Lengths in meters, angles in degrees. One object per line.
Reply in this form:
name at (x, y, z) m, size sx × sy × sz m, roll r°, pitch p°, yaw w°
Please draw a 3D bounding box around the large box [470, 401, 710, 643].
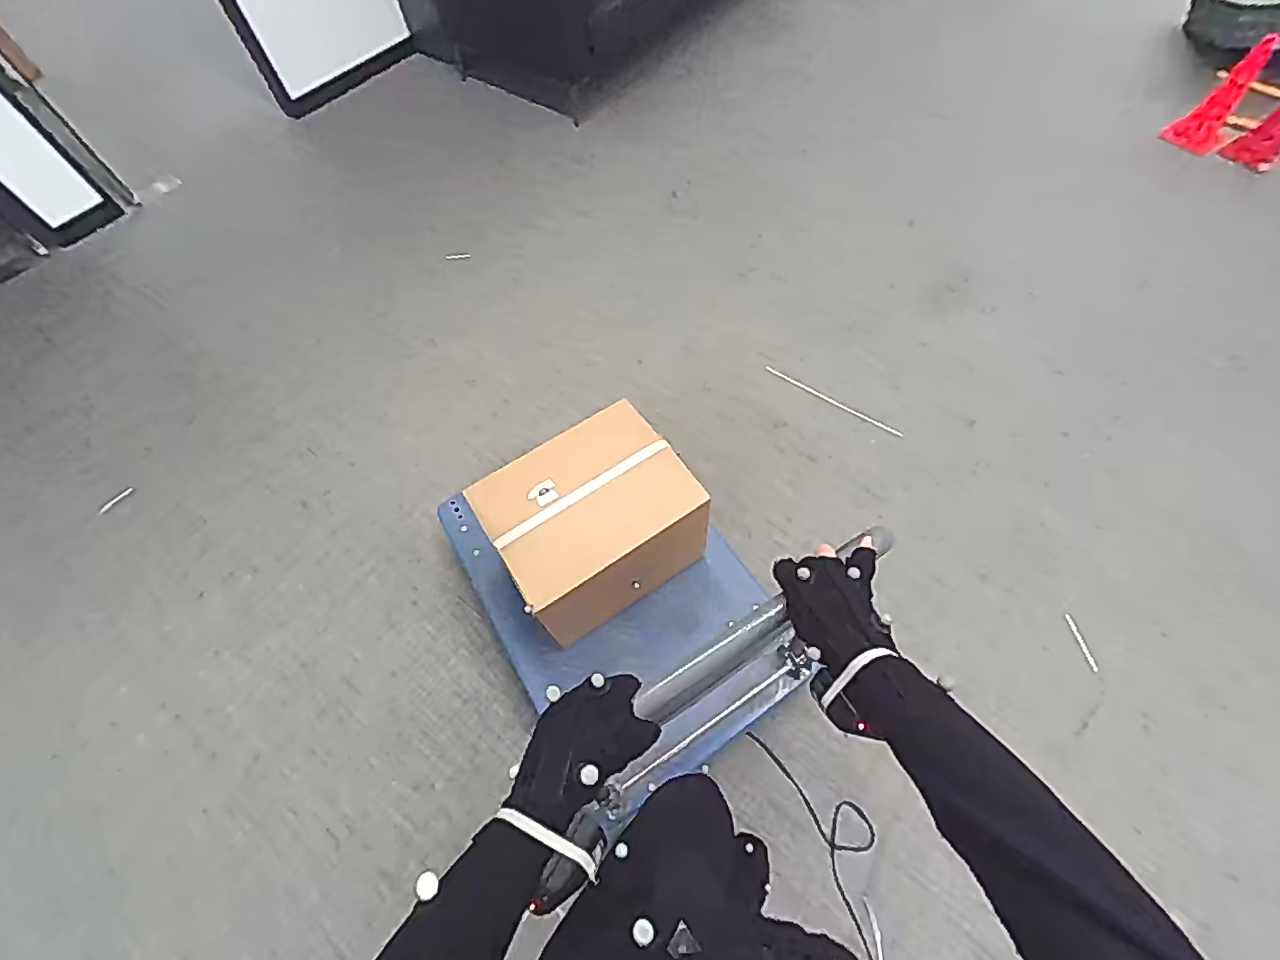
large box at (-0.094, 0.102, 1.222) m, size 0.408 × 0.320 × 0.320 m, roll -33°, pitch 64°, yaw -13°
